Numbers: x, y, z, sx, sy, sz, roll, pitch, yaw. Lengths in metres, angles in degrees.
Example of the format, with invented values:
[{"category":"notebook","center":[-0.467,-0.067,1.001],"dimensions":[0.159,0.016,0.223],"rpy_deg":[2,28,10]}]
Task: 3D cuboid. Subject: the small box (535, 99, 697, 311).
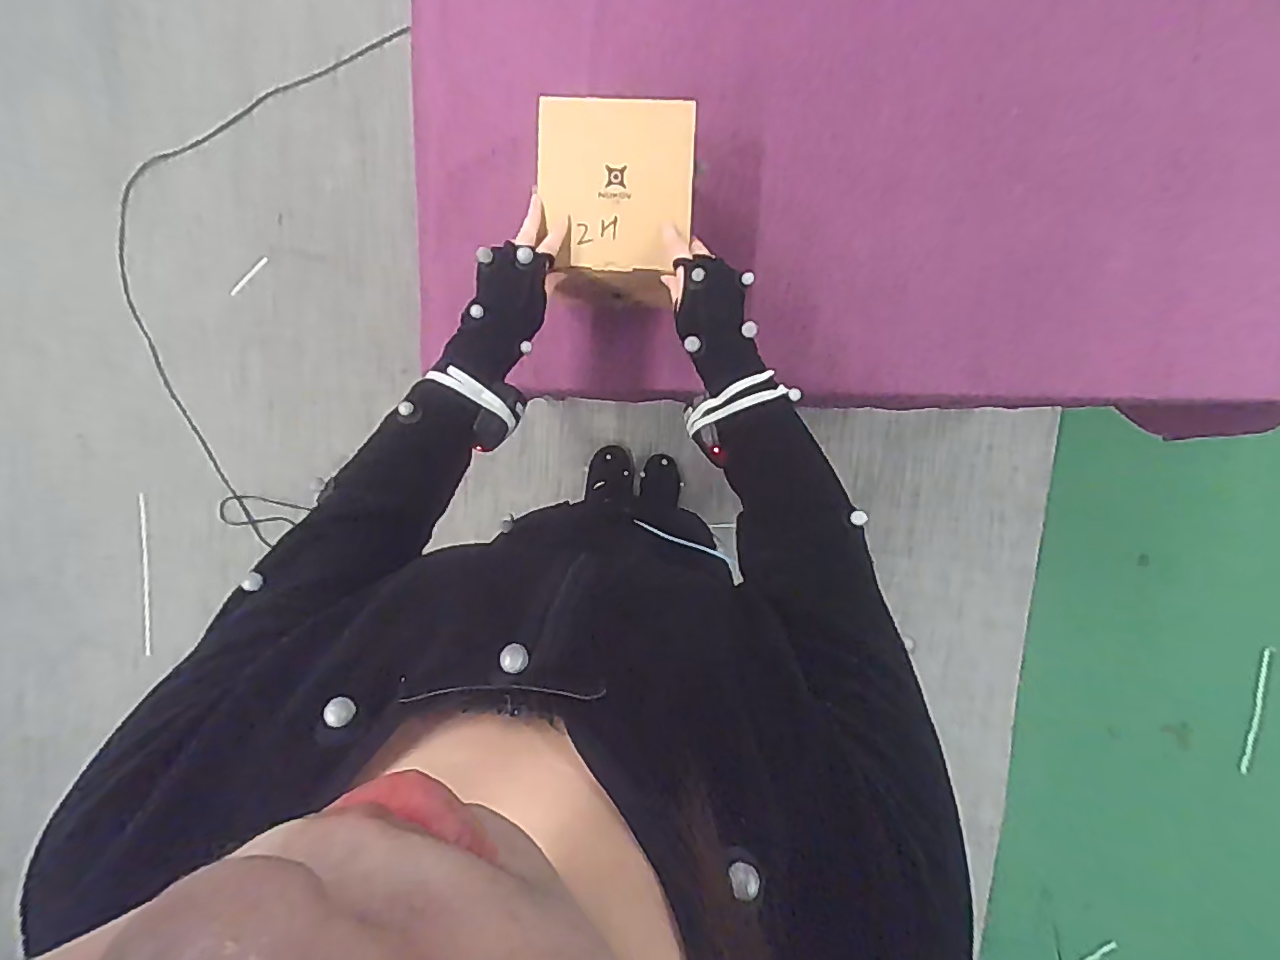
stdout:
[{"category":"small box","center":[-0.025,-0.315,0.650],"dimensions":[0.168,0.176,0.179],"rpy_deg":[3,95,1]}]
